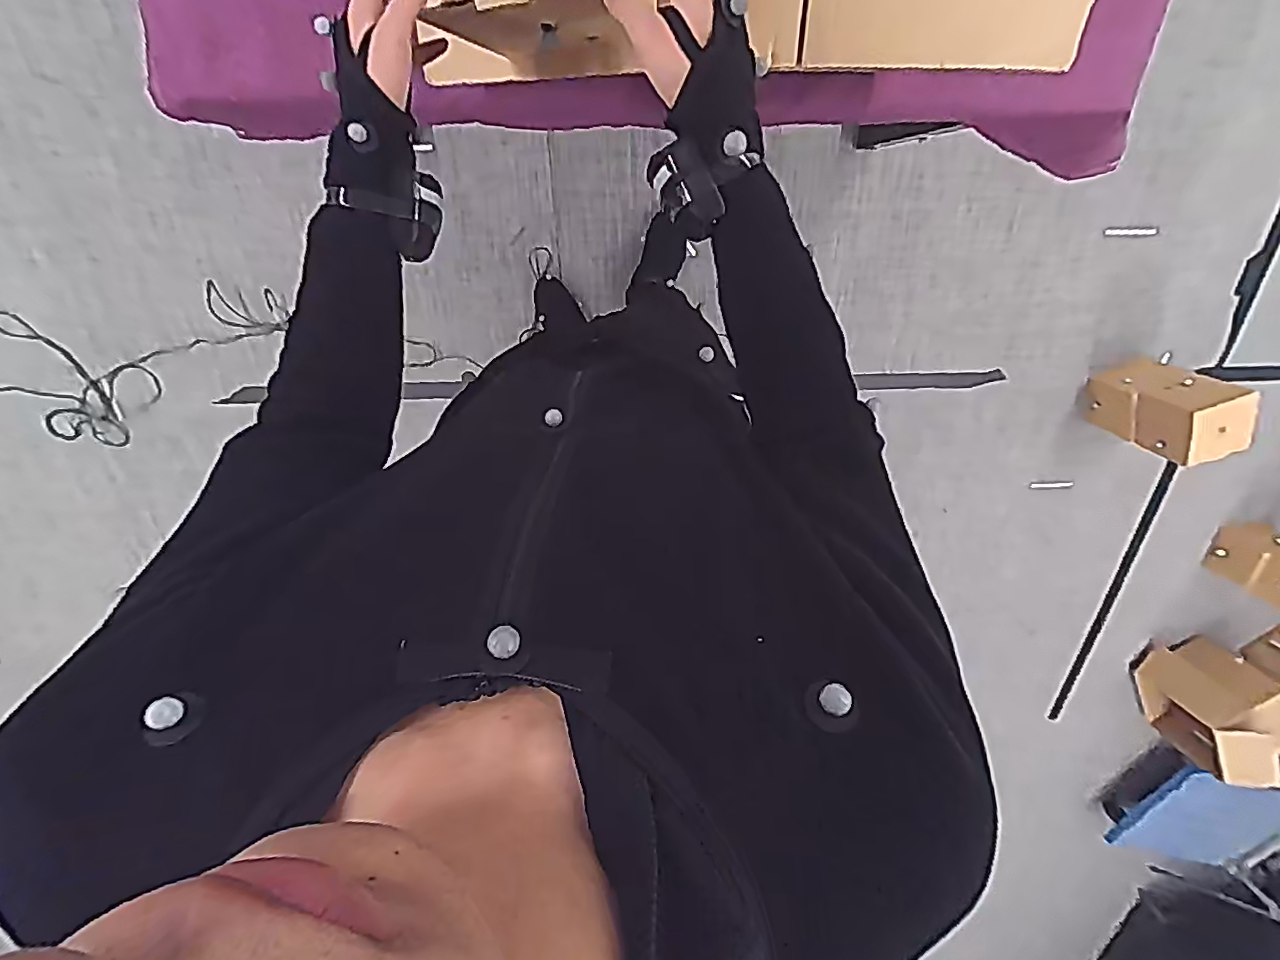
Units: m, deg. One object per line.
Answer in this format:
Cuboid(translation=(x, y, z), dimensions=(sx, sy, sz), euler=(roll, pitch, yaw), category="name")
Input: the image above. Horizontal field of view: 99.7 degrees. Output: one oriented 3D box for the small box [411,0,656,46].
Cuboid(translation=(-0.086, -0.478, 0.437), dimensions=(0.168, 0.176, 0.179), euler=(4, 119, 15), category="small box")
